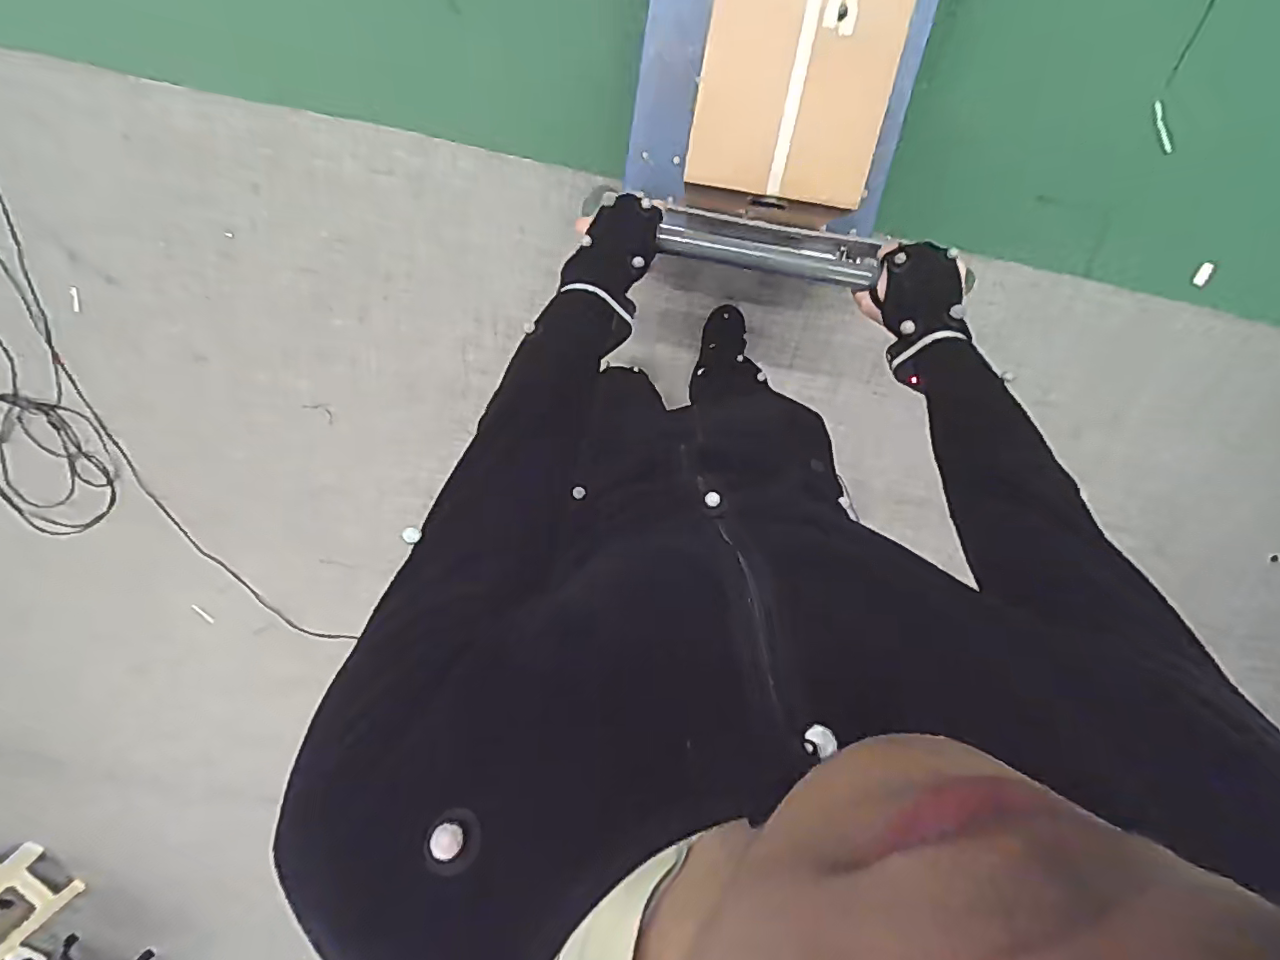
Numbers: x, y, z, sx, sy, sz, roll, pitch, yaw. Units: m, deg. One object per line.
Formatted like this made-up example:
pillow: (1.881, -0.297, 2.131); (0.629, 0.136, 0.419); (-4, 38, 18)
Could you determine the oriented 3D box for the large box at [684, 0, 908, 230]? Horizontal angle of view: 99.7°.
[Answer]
large box: (0.272, -0.730, 1.036); (0.320, 0.320, 0.408); (11, 110, 2)
